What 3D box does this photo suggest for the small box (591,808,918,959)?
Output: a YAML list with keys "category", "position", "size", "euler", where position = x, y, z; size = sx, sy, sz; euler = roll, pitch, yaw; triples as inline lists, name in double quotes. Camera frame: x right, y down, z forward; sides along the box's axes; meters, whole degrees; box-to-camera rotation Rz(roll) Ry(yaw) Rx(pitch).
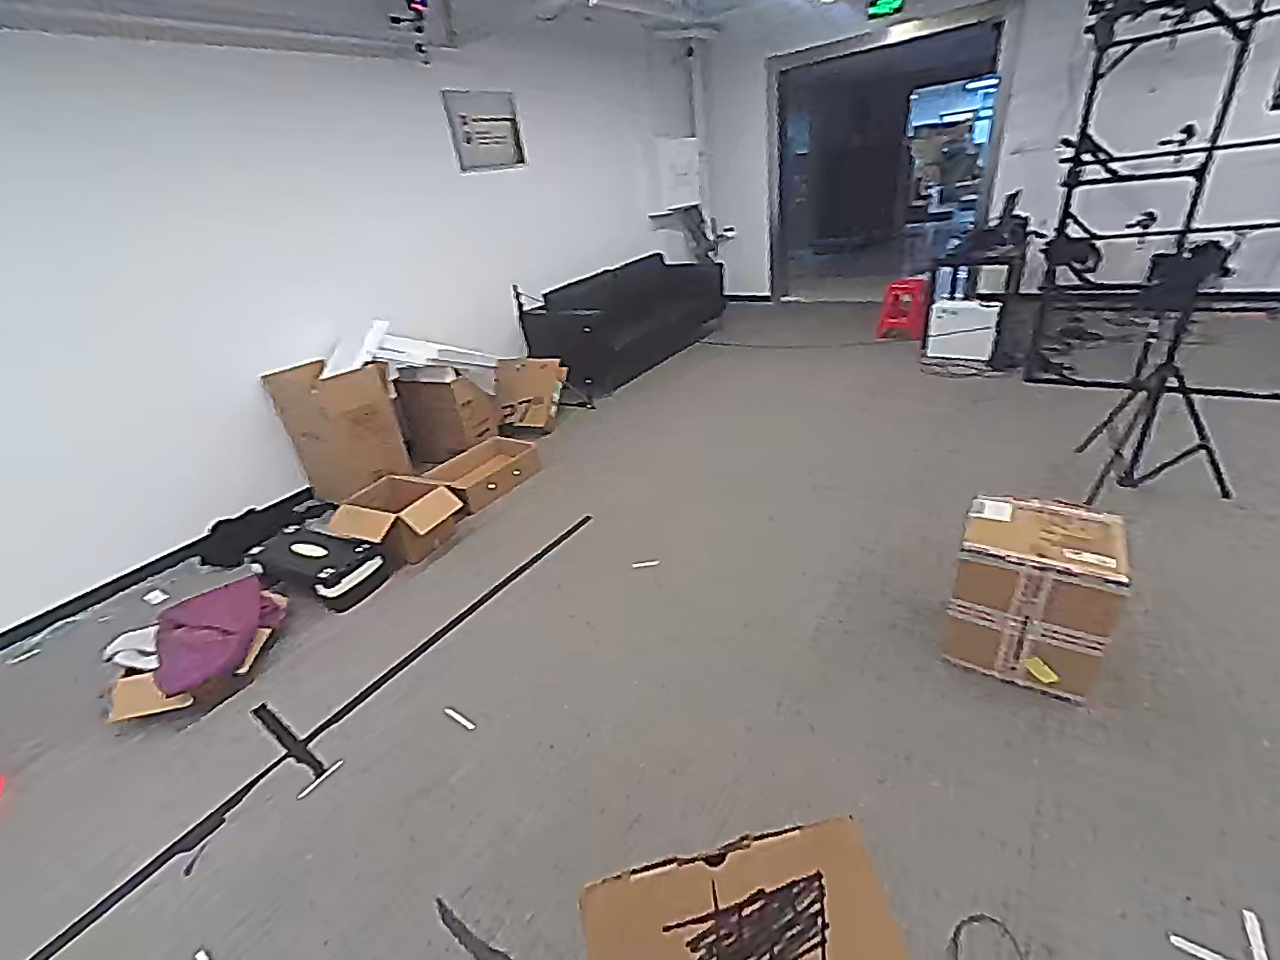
- category: "small box"
  position: [0.080, 0.323, 0.322]
  size: [0.168, 0.176, 0.179]
  euler: [-17, 51, 3]
